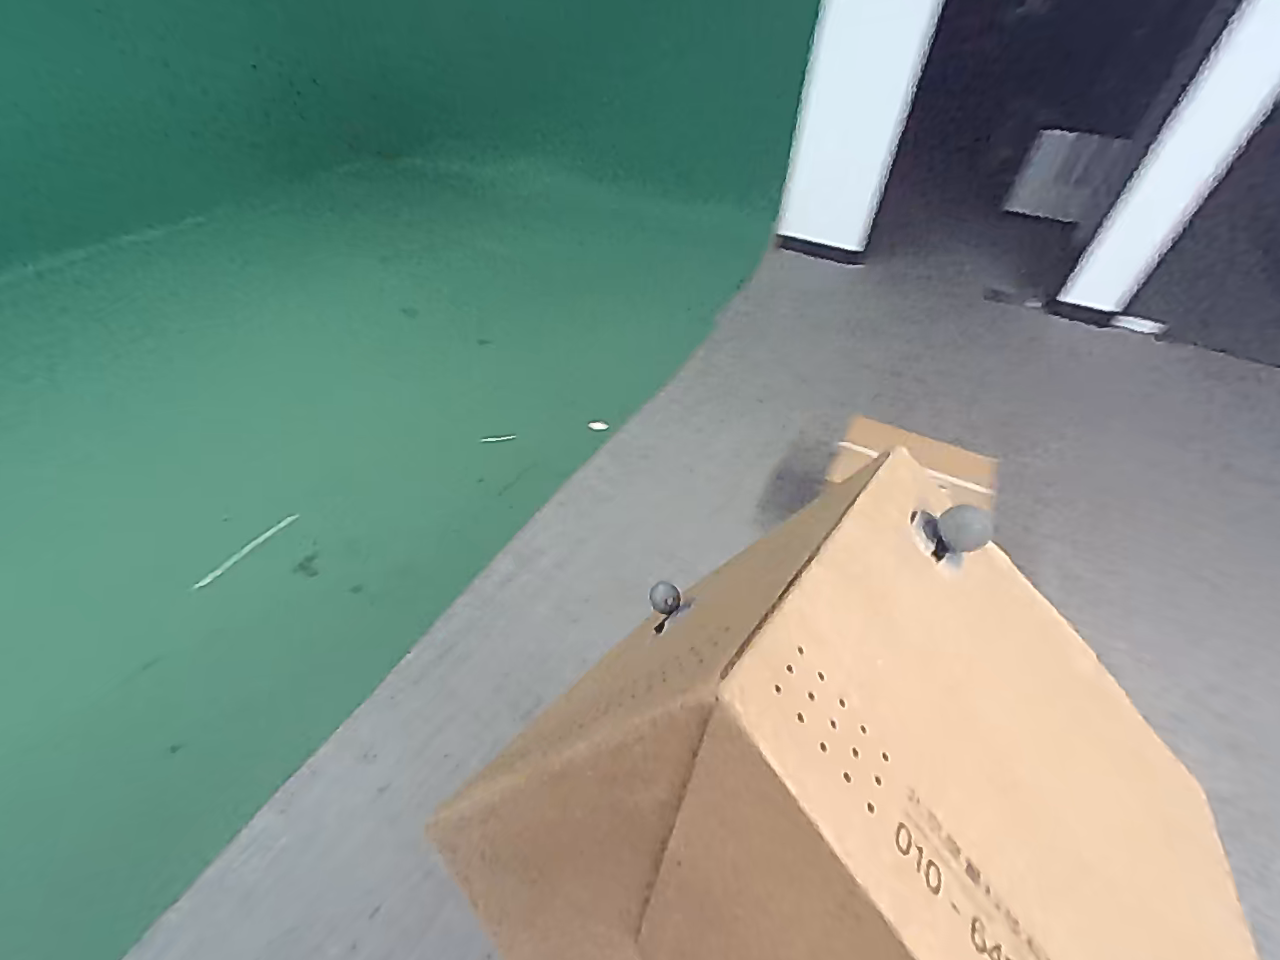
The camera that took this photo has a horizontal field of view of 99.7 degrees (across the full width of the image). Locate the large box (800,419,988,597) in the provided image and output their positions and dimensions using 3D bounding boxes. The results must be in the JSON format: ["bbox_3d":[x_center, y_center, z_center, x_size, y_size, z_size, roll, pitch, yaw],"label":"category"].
[{"bbox_3d":[0.738,0.078,1.605,0.408,0.320,0.320,22,50,17],"label":"large box"}]
